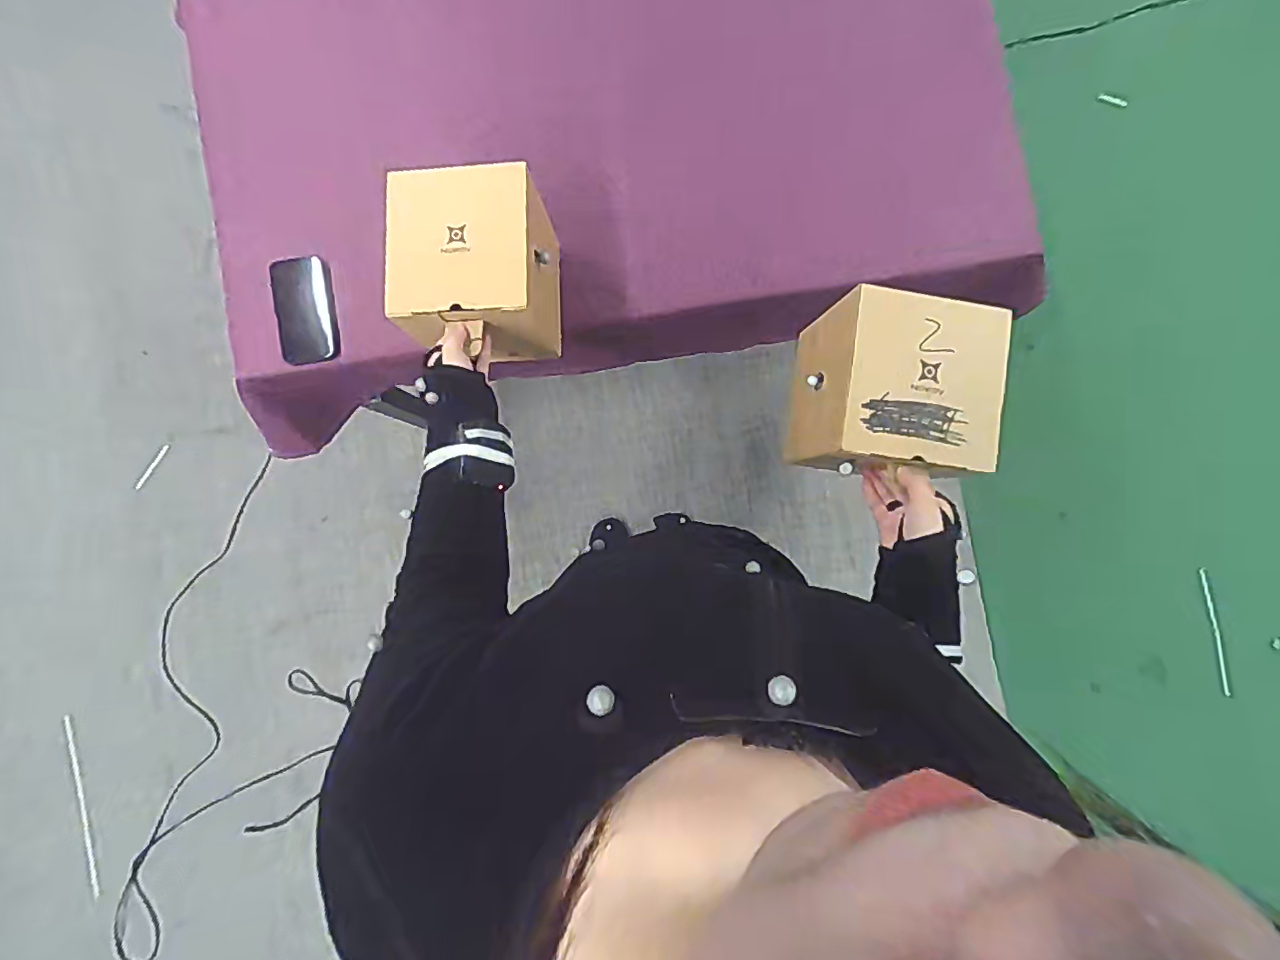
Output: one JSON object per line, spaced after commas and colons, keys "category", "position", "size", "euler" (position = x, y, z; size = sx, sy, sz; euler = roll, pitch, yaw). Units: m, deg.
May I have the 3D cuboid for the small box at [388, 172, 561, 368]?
{"category": "small box", "position": [-0.198, -0.255, 0.688], "size": [0.168, 0.176, 0.179], "euler": [-2, 84, 3]}
